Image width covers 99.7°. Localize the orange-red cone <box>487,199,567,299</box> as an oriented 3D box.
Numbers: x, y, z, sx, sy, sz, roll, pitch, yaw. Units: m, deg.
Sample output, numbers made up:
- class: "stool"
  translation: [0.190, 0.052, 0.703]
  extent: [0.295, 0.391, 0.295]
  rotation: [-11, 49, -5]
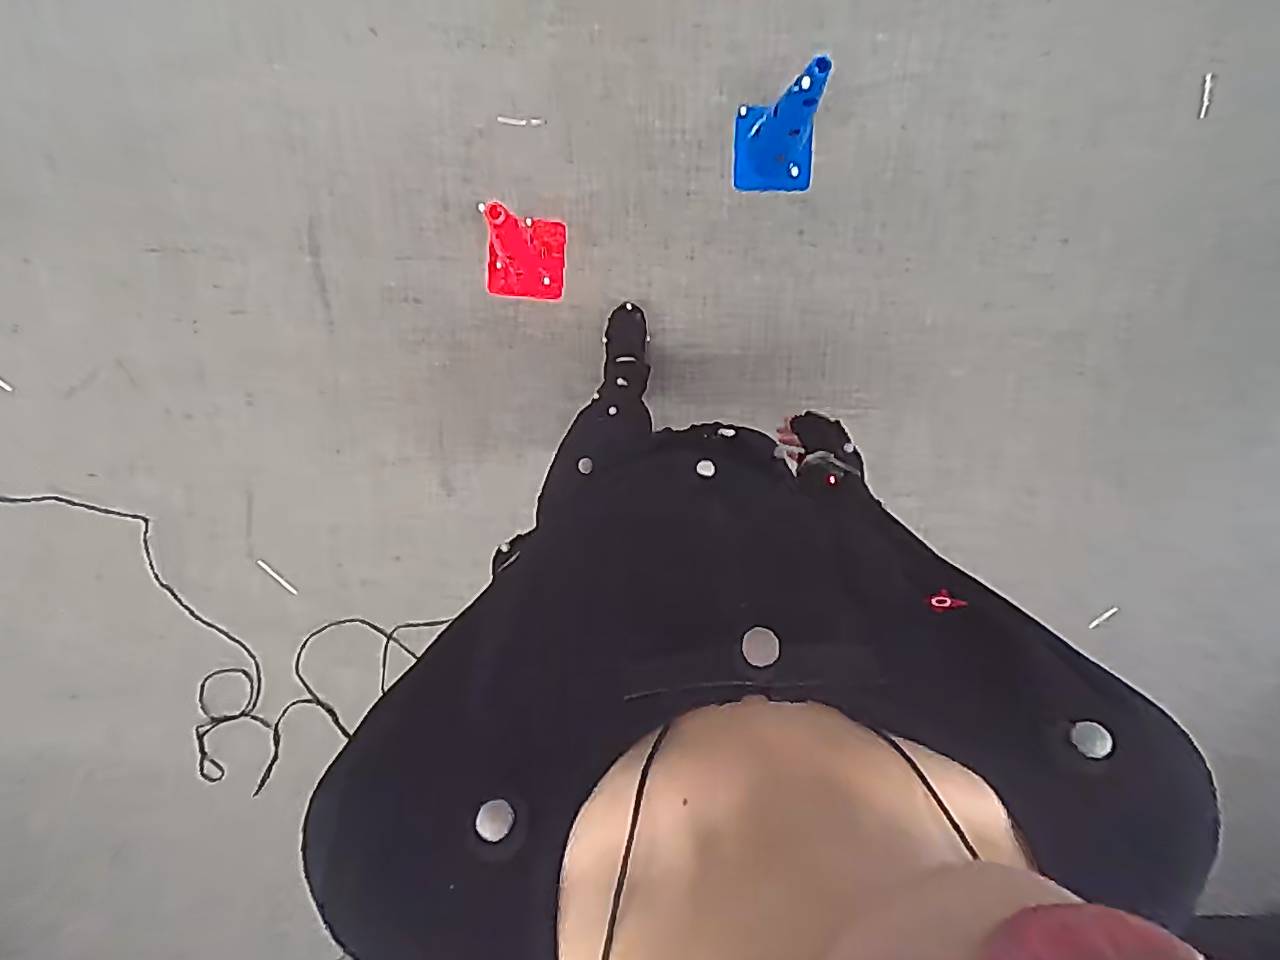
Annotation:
- class: "orange-red cone"
  translation: [-0.287, -0.557, 1.229]
  extent: [0.198, 0.360, 0.199]
  rotation: [6, 97, -3]
